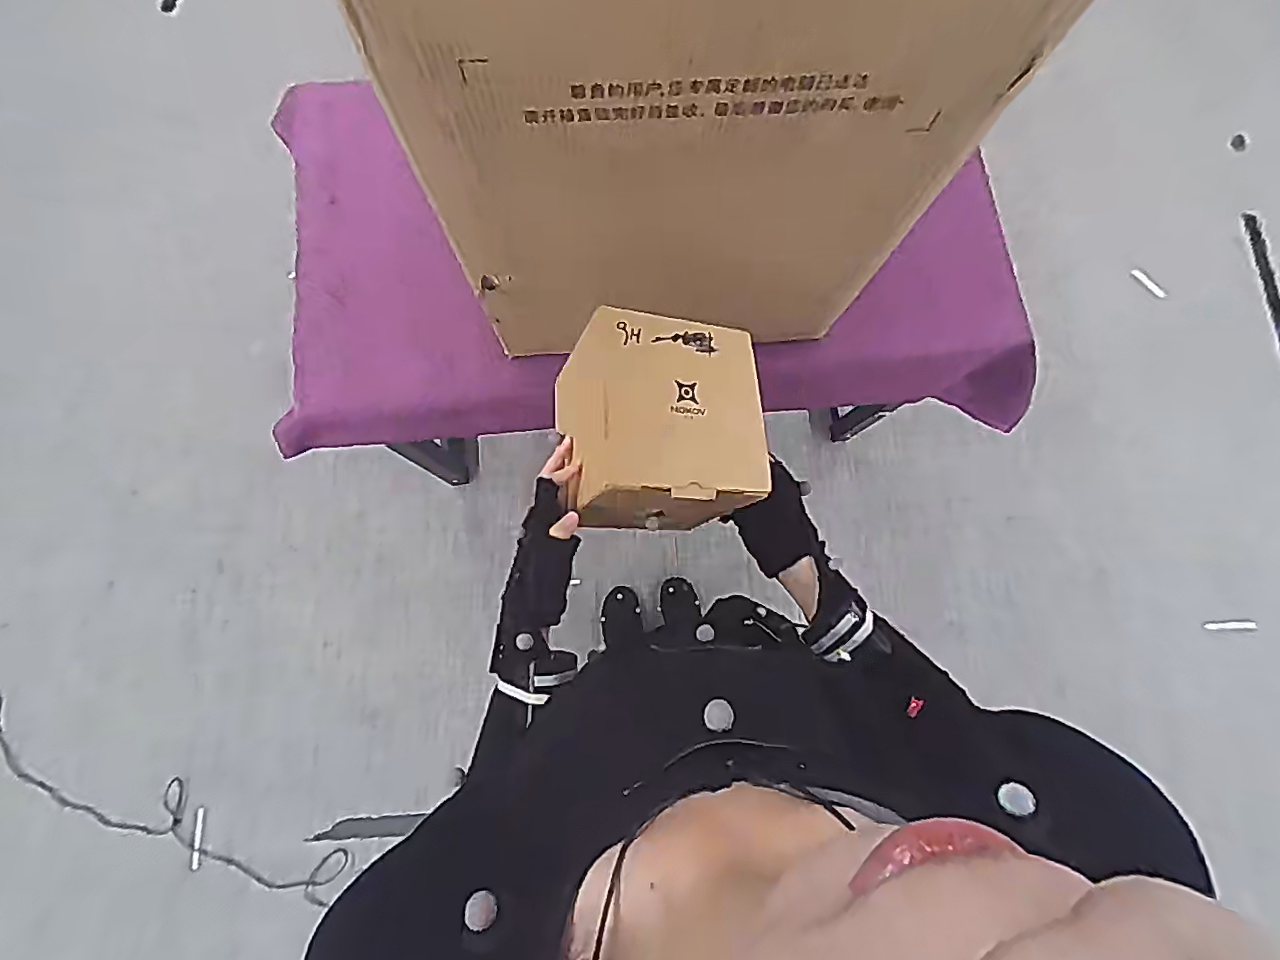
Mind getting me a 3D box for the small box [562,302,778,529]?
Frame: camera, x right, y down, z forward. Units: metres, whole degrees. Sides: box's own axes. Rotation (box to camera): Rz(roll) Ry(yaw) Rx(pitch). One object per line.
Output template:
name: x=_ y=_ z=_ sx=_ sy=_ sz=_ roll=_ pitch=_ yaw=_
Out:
small box: x=0.019 y=-0.051 z=0.564 sx=0.168 sy=0.176 sz=0.179 roll=5 pitch=70 yaw=-22
